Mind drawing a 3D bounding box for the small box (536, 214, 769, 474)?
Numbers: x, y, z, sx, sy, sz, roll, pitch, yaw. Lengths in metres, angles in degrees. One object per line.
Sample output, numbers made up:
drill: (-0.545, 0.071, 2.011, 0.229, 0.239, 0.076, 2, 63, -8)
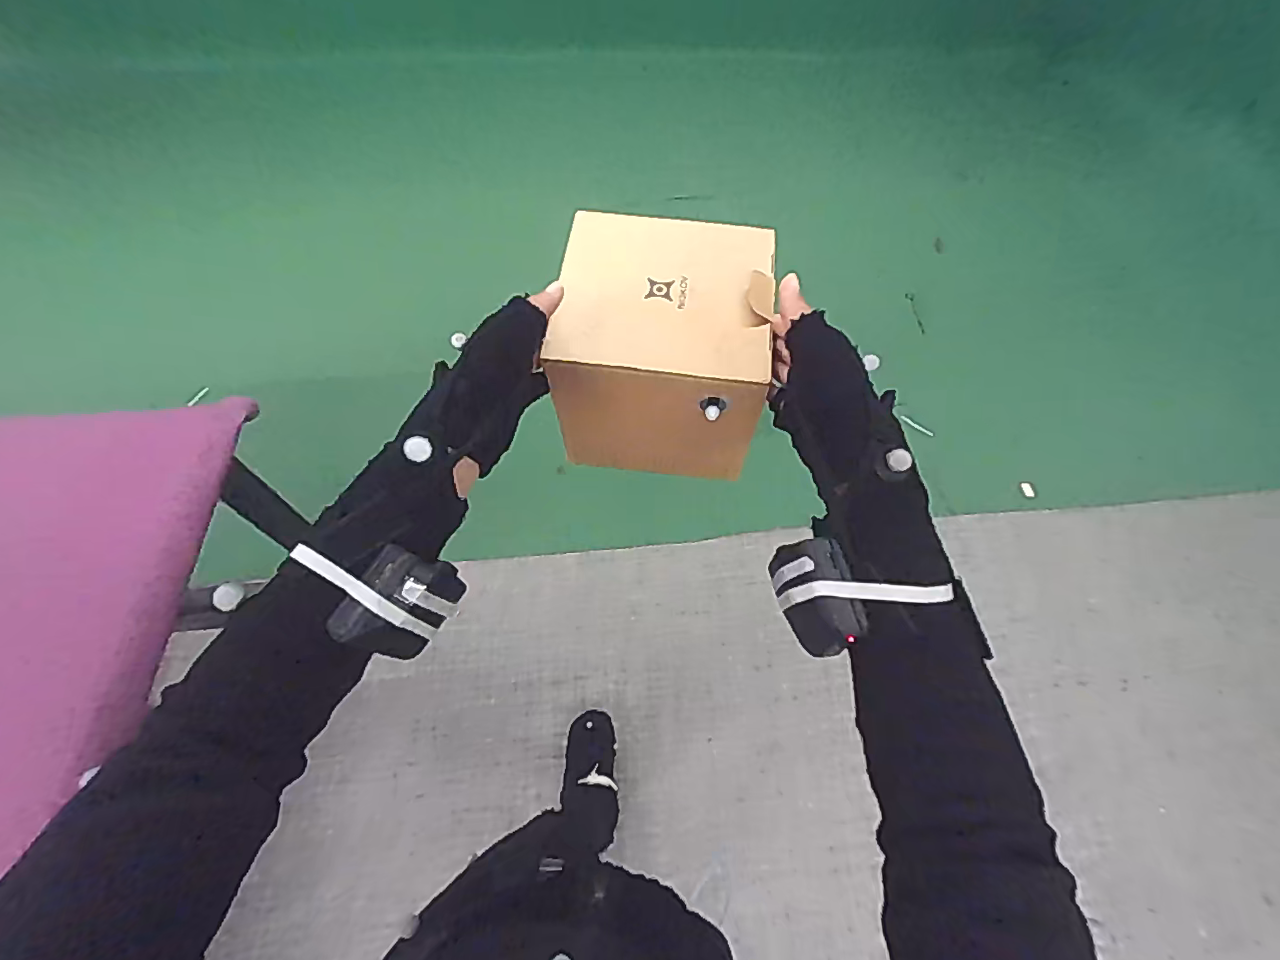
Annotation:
small box: (0.016, -0.118, 0.509, 0.179, 0.176, 0.168, 6, 63, 2)
